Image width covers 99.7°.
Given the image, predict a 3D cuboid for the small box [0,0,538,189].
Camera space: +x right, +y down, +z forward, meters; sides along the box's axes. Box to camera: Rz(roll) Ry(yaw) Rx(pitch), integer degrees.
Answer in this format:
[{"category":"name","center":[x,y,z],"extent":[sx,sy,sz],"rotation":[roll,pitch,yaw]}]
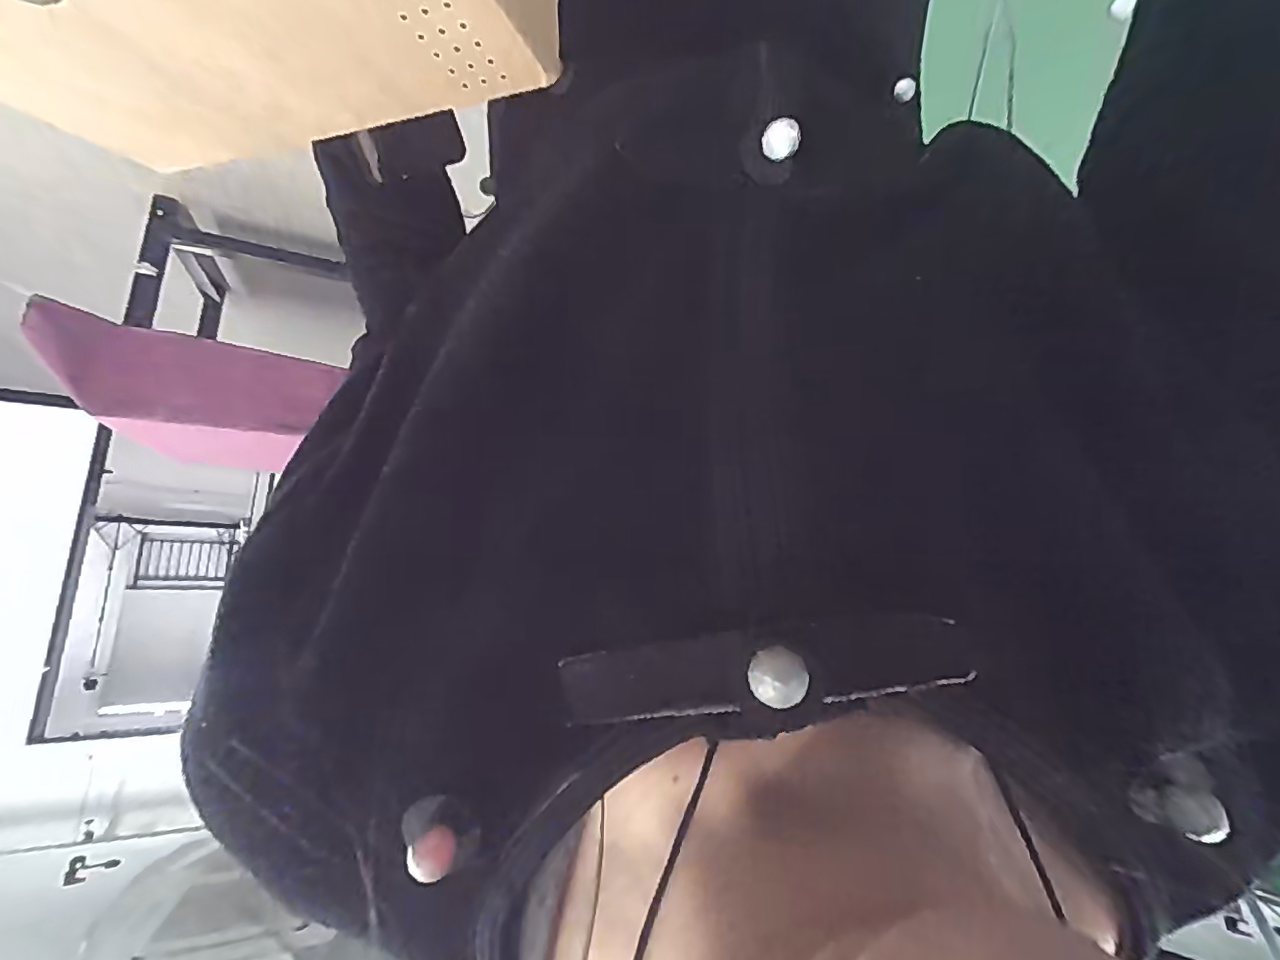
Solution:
[{"category":"small box","center":[-0.130,-0.197,0.113],"extent":[0.176,0.179,0.168],"rotation":[2,-177,17]}]
